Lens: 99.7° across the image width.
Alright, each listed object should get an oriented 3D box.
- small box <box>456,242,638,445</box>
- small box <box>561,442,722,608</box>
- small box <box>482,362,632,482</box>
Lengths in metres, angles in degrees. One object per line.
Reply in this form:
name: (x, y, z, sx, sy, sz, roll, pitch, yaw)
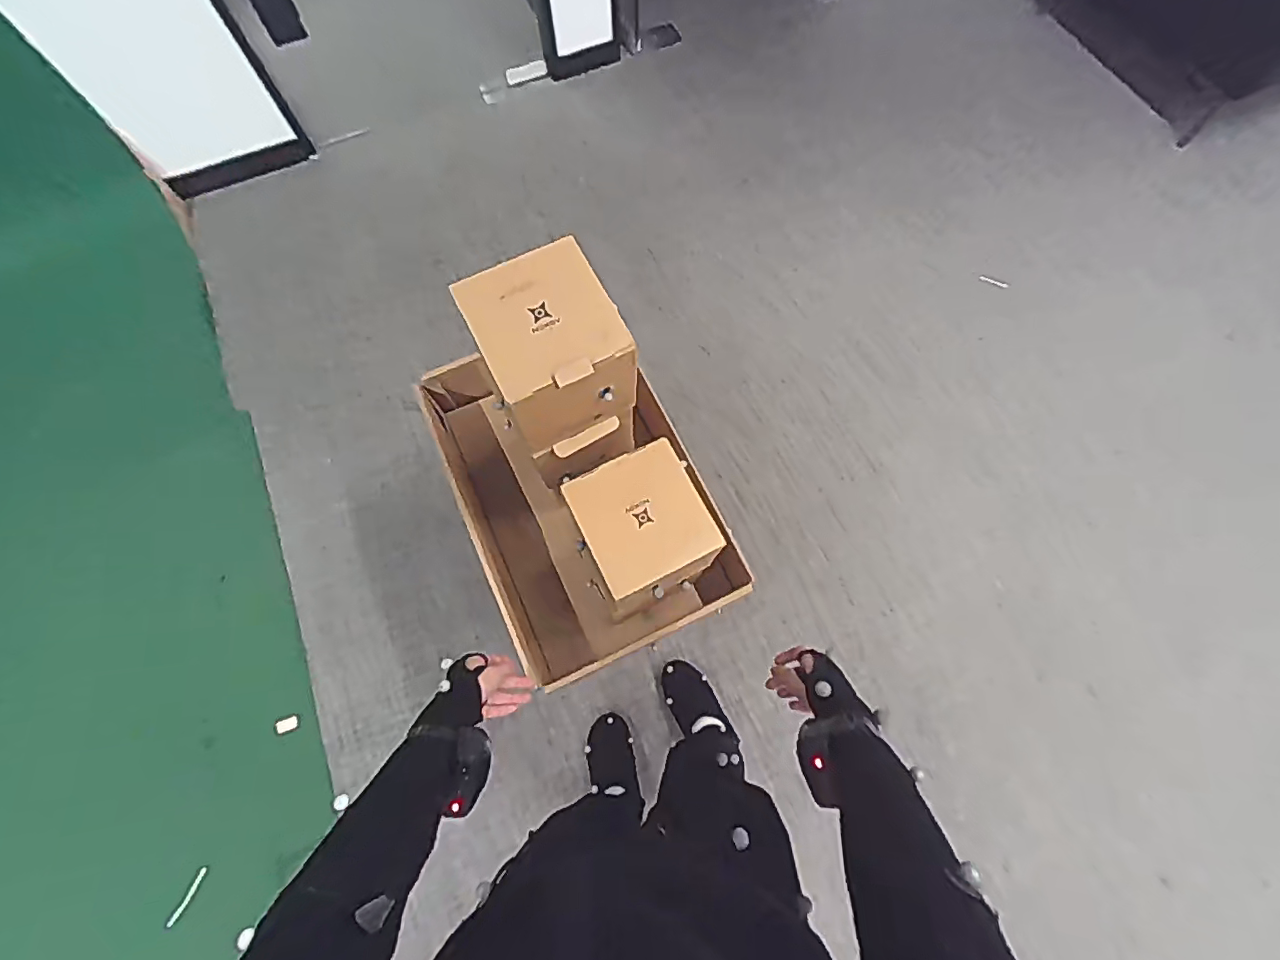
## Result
small box: (-0.112, -0.164, 0.710, 0.168, 0.176, 0.179, -26, 75, -10)
small box: (0.001, 0.077, 0.797, 0.168, 0.176, 0.179, -25, 72, -9)
small box: (-0.122, -0.113, 0.865, 0.168, 0.176, 0.179, -29, 75, -10)
